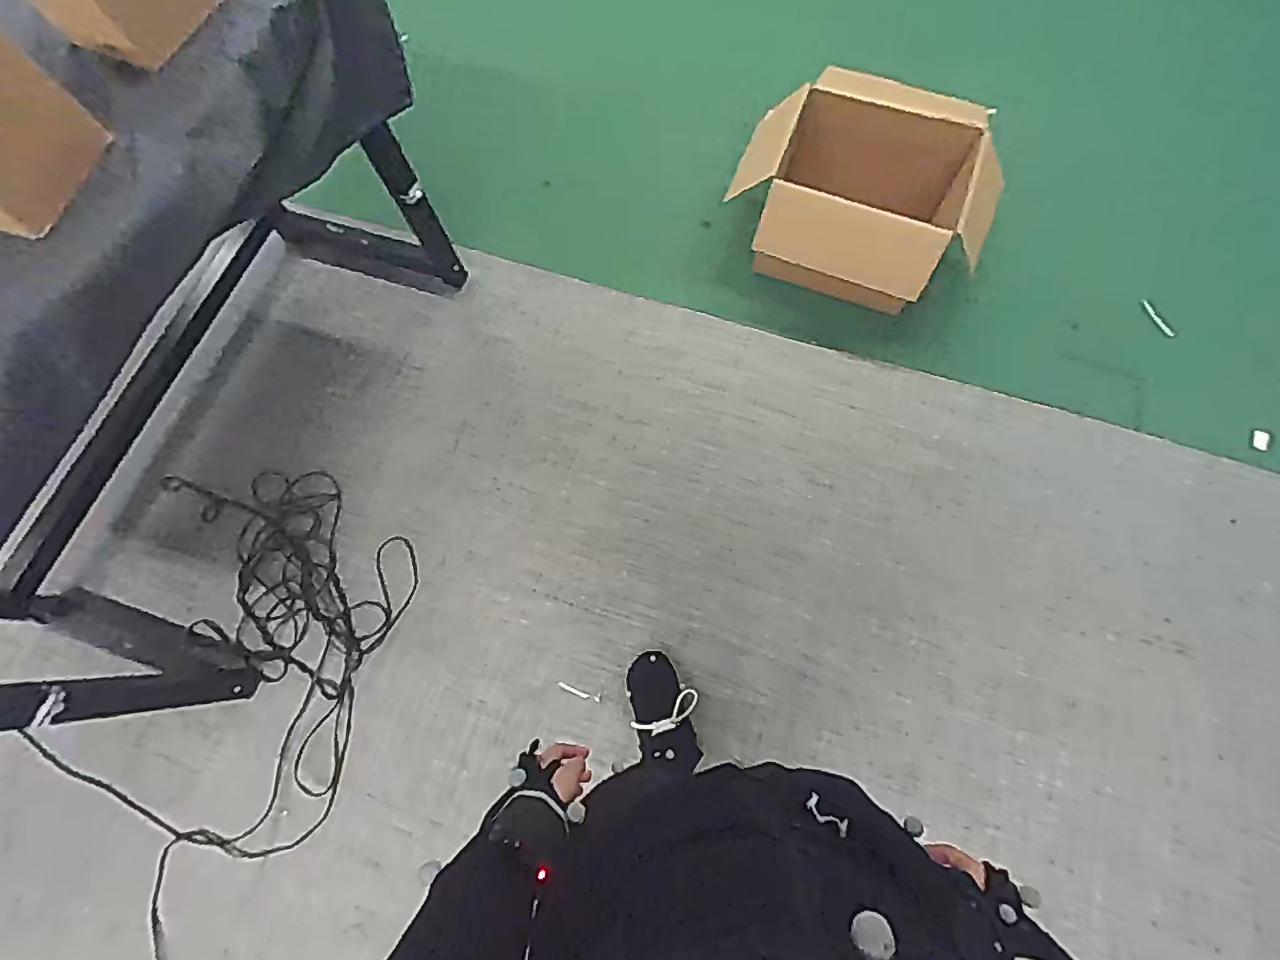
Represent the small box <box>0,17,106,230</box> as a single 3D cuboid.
[{"bbox_3d":[-0.802,-0.435,0.634,0.168,0.176,0.179,15,75,7],"label":"small box"}]
